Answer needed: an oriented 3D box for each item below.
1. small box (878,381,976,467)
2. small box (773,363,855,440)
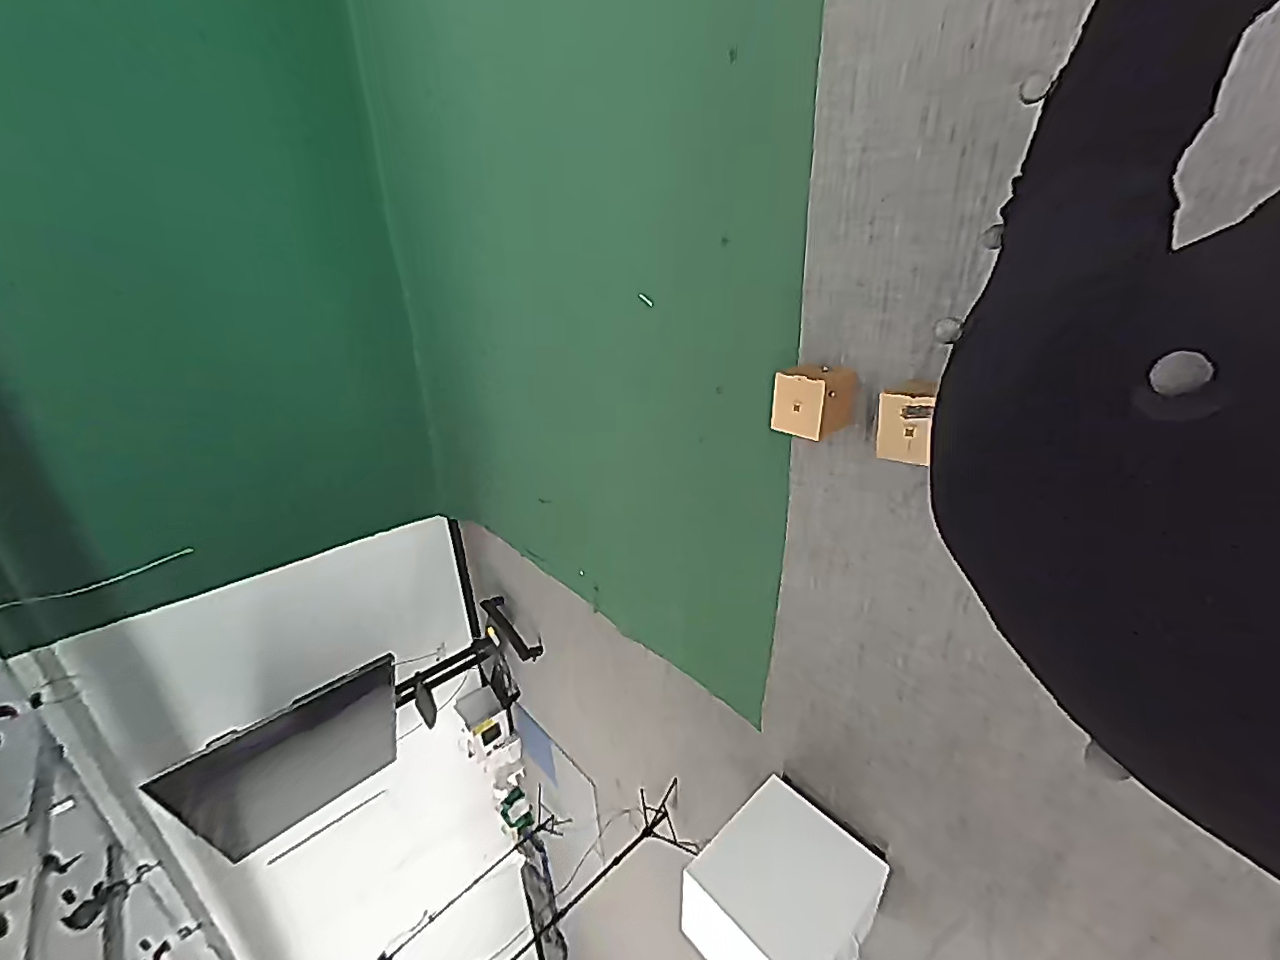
[{"bbox_3d":[0.732,-0.151,1.377,0.168,0.176,0.179,17,119,46],"label":"small box"},{"bbox_3d":[0.516,-0.238,1.602,0.168,0.176,0.179,23,122,43],"label":"small box"}]
